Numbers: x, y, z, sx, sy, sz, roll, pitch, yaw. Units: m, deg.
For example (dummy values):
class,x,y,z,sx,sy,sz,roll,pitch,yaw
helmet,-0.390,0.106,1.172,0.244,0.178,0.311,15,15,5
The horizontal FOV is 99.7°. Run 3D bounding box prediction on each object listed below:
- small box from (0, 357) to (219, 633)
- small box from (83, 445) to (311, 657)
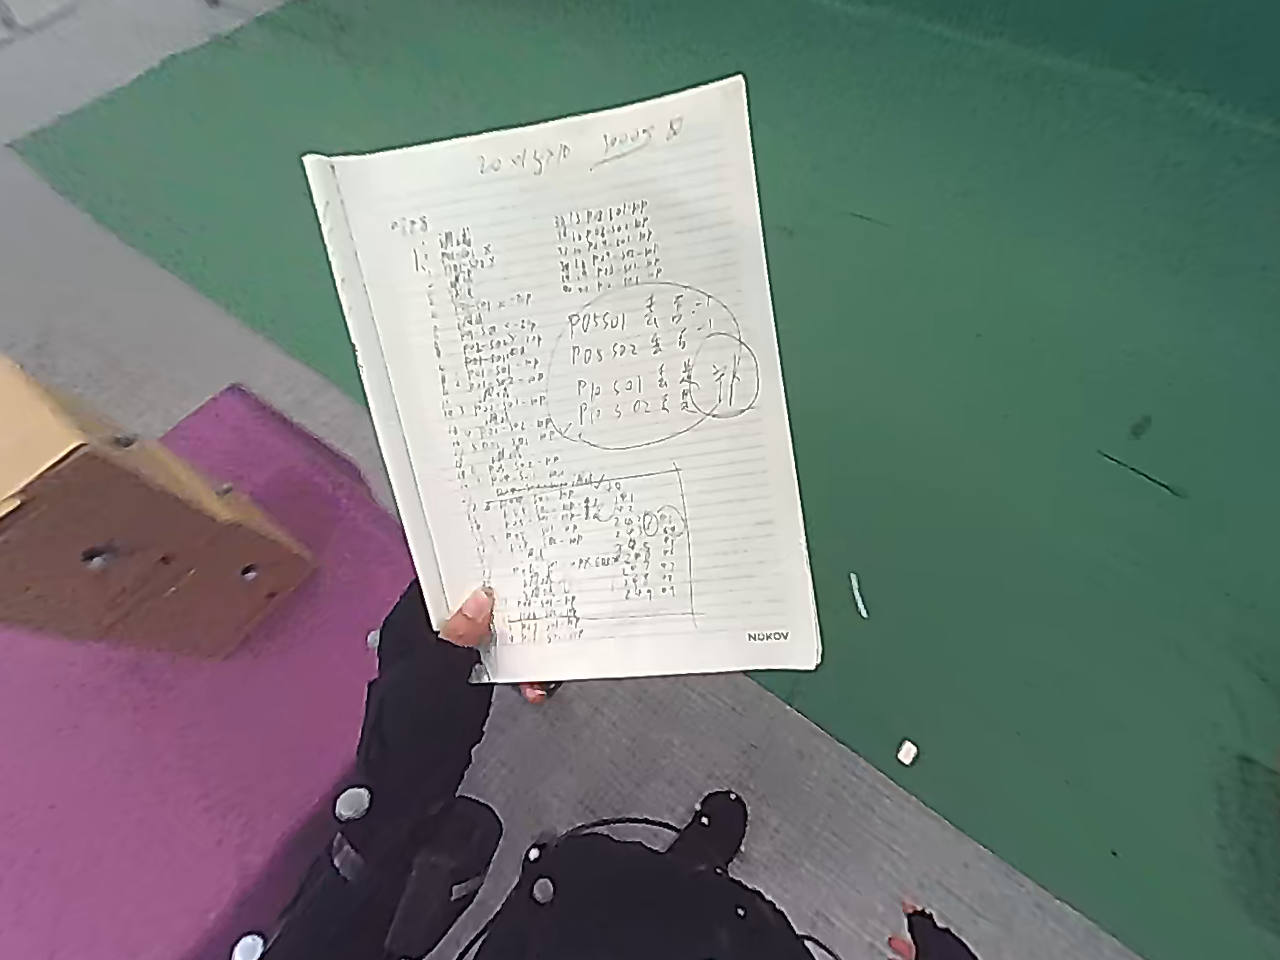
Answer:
class,x,y,z,sx,sy,sz,roll,pitch,yaw
small box,-0.564,0.025,0.512,0.179,0.176,0.168,33,68,17
small box,-0.555,0.095,0.660,0.179,0.176,0.168,33,68,18
